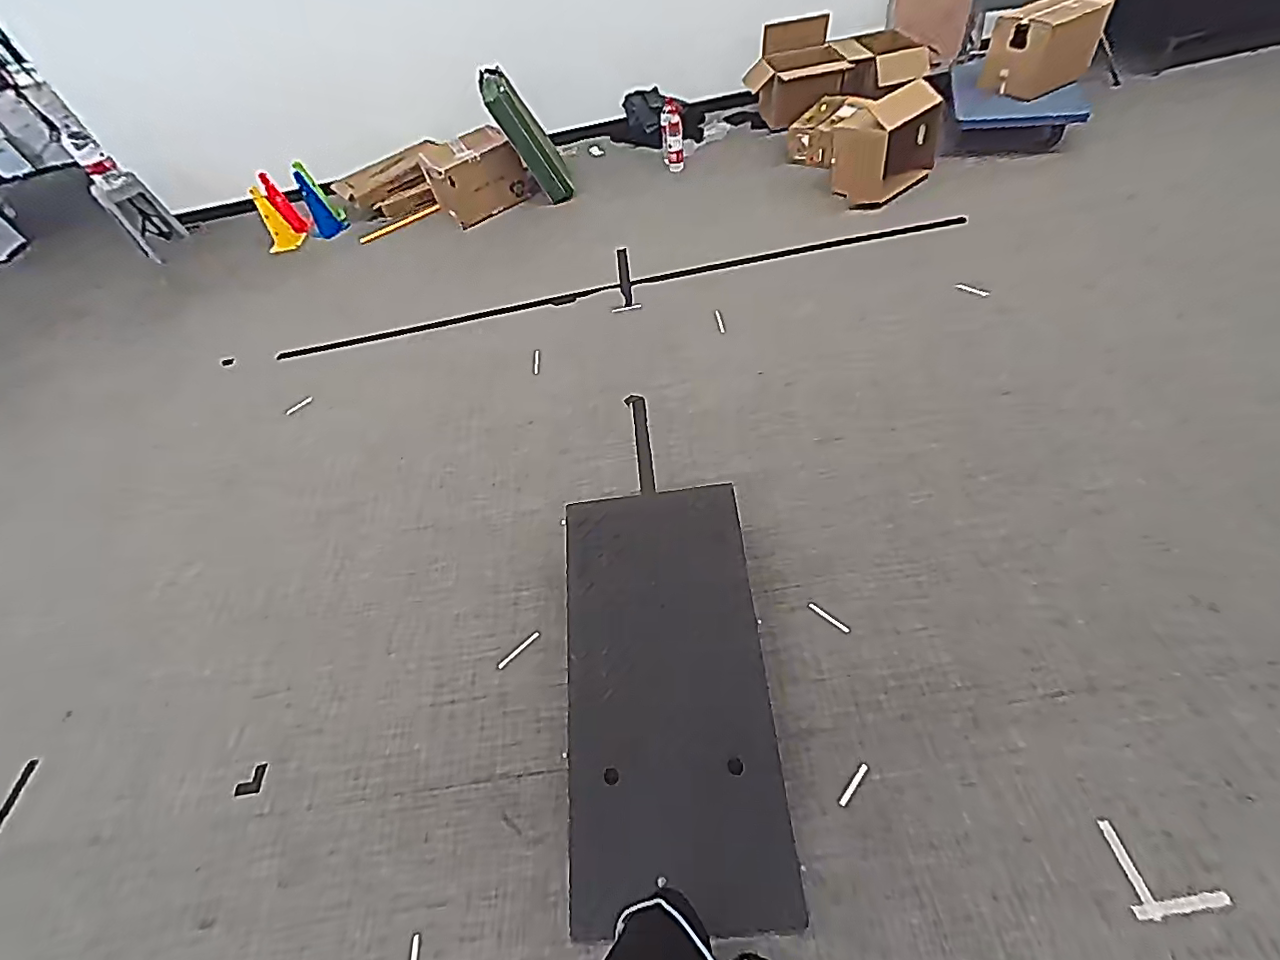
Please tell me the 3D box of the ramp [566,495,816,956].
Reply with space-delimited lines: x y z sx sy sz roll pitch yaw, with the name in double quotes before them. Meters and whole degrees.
"ramp" 0.071 0.513 1.339 0.509 0.206 0.991 -10 50 3
